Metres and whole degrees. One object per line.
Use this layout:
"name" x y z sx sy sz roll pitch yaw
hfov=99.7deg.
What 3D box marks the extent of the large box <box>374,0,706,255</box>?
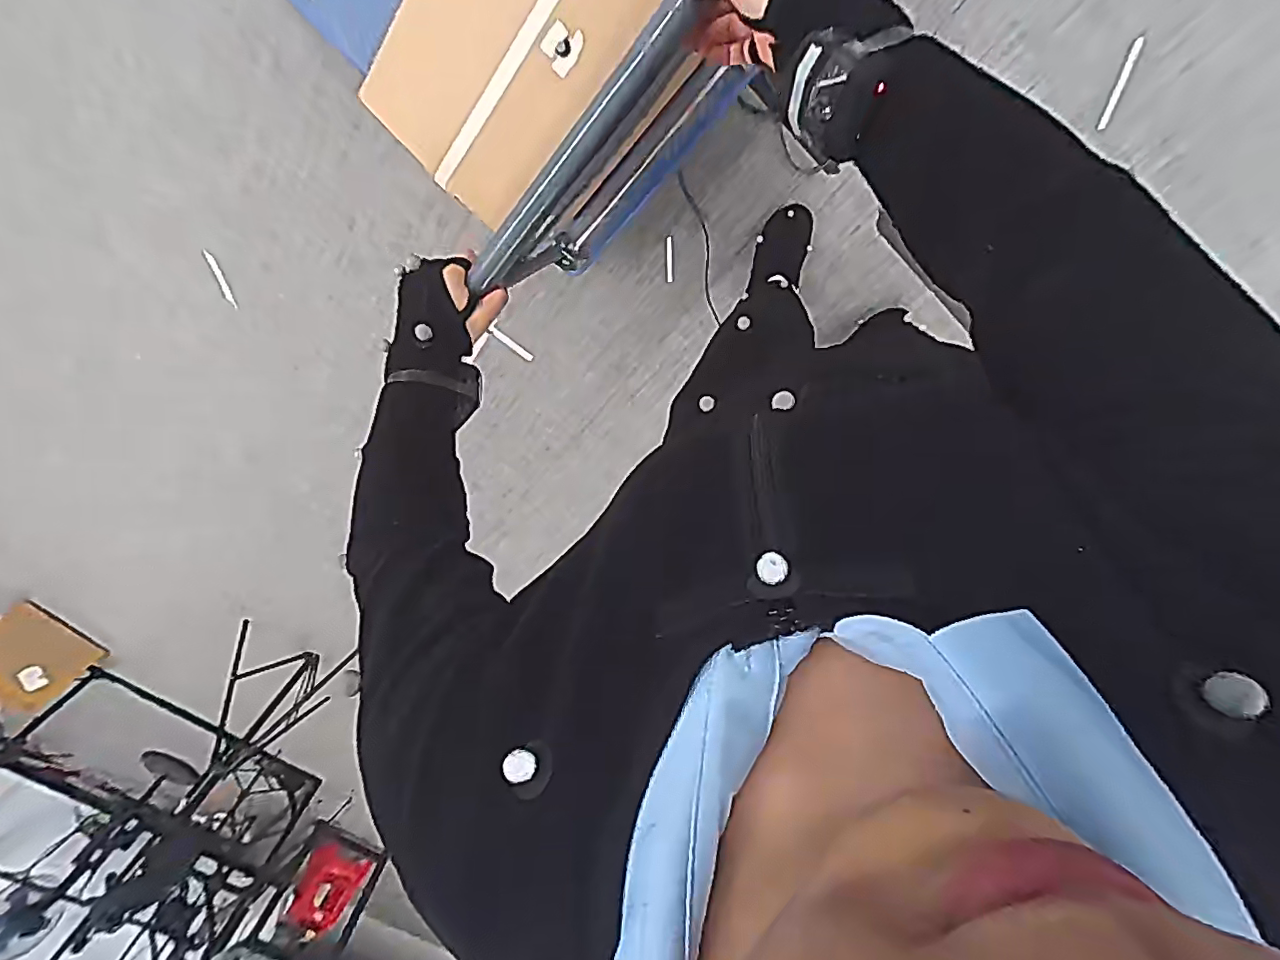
"large box" -0.145 -0.658 0.892 0.320 0.320 0.408 42 121 -16
